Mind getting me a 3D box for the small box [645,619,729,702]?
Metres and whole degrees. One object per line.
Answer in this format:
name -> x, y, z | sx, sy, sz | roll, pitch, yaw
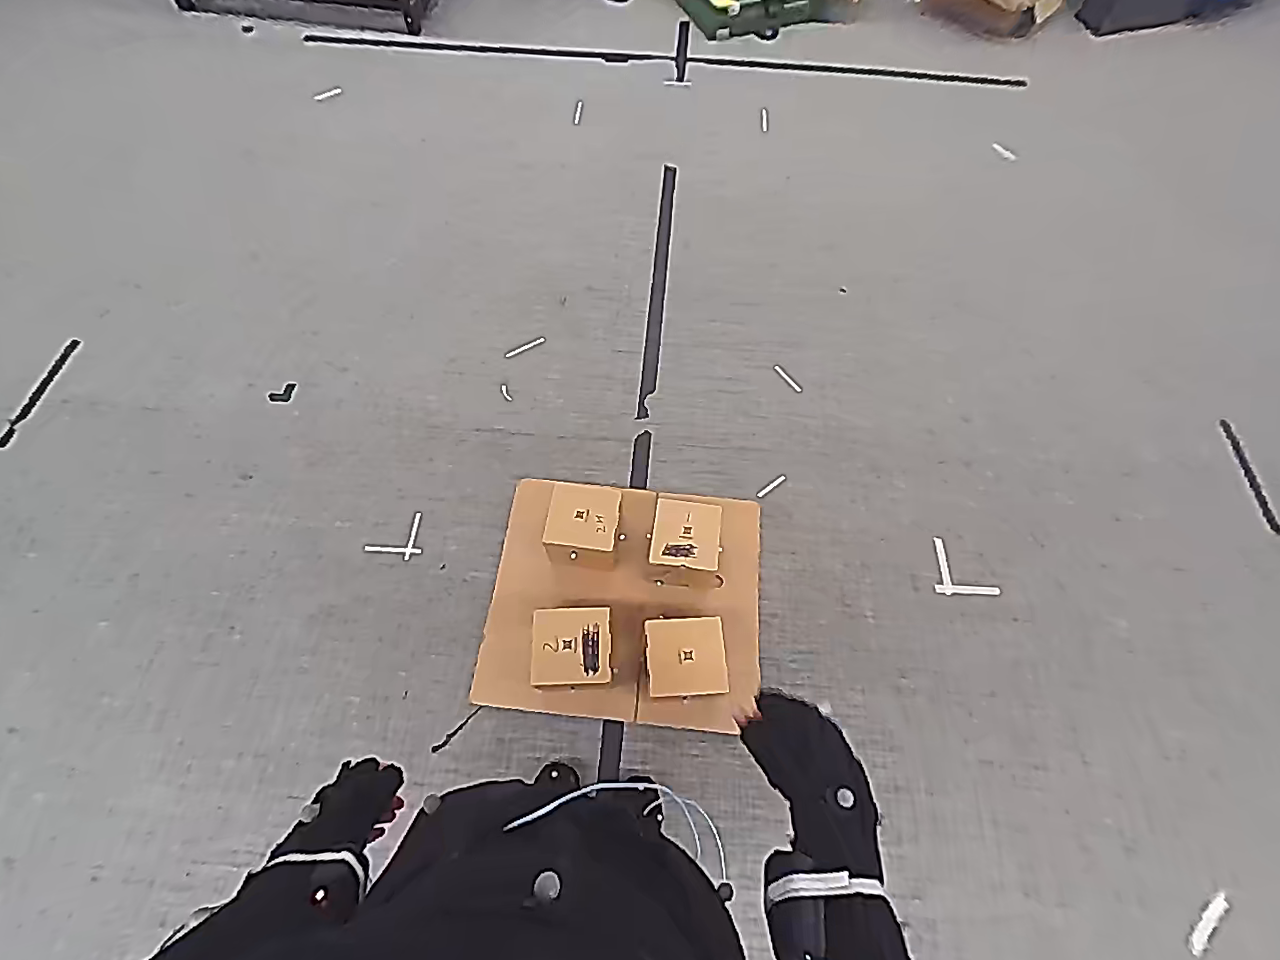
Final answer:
small box -> 0.103, 0.430, 1.280 | 0.179, 0.176, 0.168 | -3, 64, -1
